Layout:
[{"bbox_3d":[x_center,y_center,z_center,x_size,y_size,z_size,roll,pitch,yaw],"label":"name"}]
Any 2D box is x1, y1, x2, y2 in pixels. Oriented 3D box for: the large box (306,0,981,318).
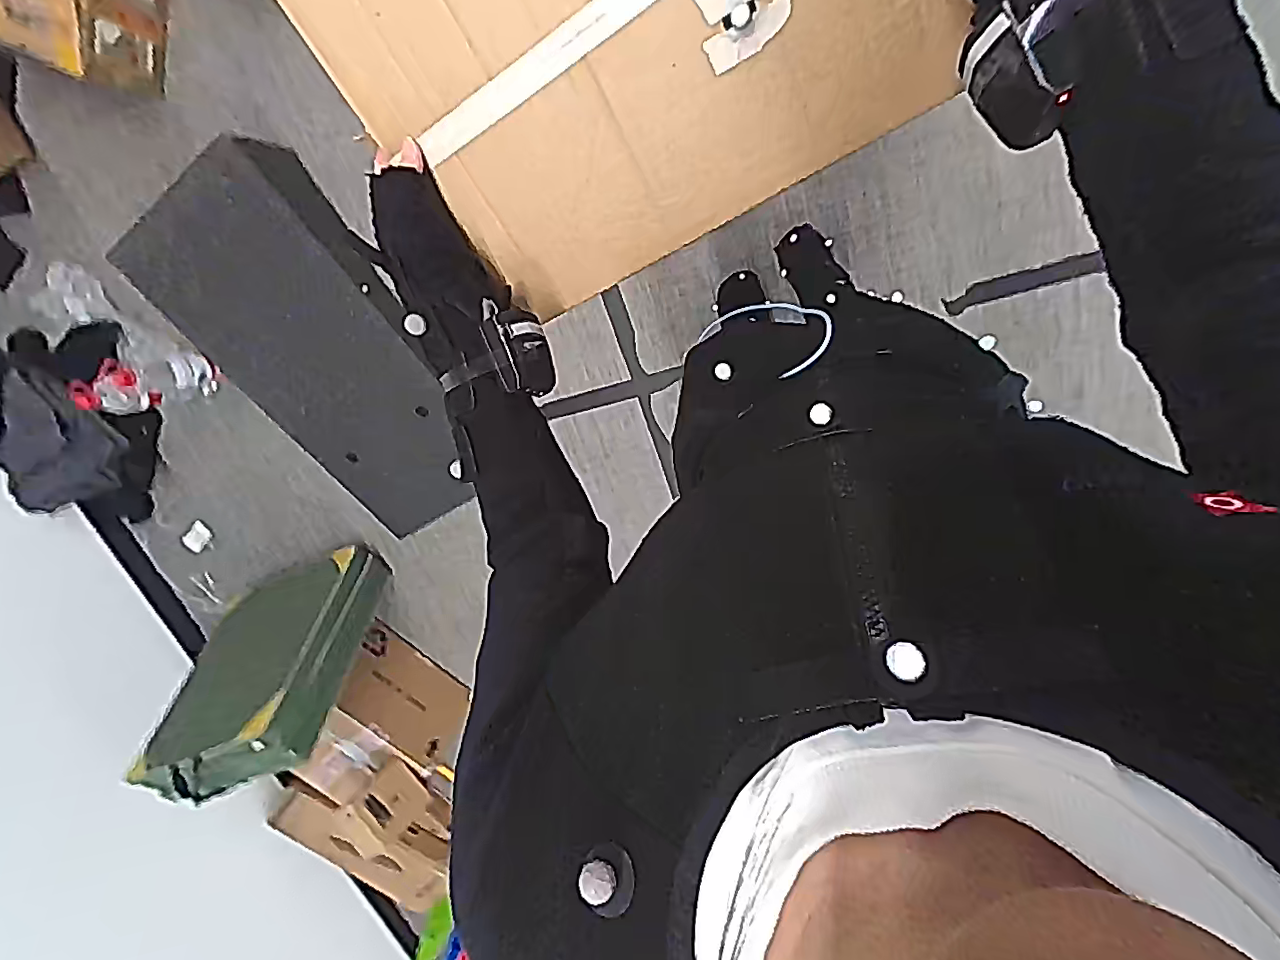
[{"bbox_3d":[0.000,-0.416,0.484,0.408,0.320,0.320,-22,123,20],"label":"large box"}]
